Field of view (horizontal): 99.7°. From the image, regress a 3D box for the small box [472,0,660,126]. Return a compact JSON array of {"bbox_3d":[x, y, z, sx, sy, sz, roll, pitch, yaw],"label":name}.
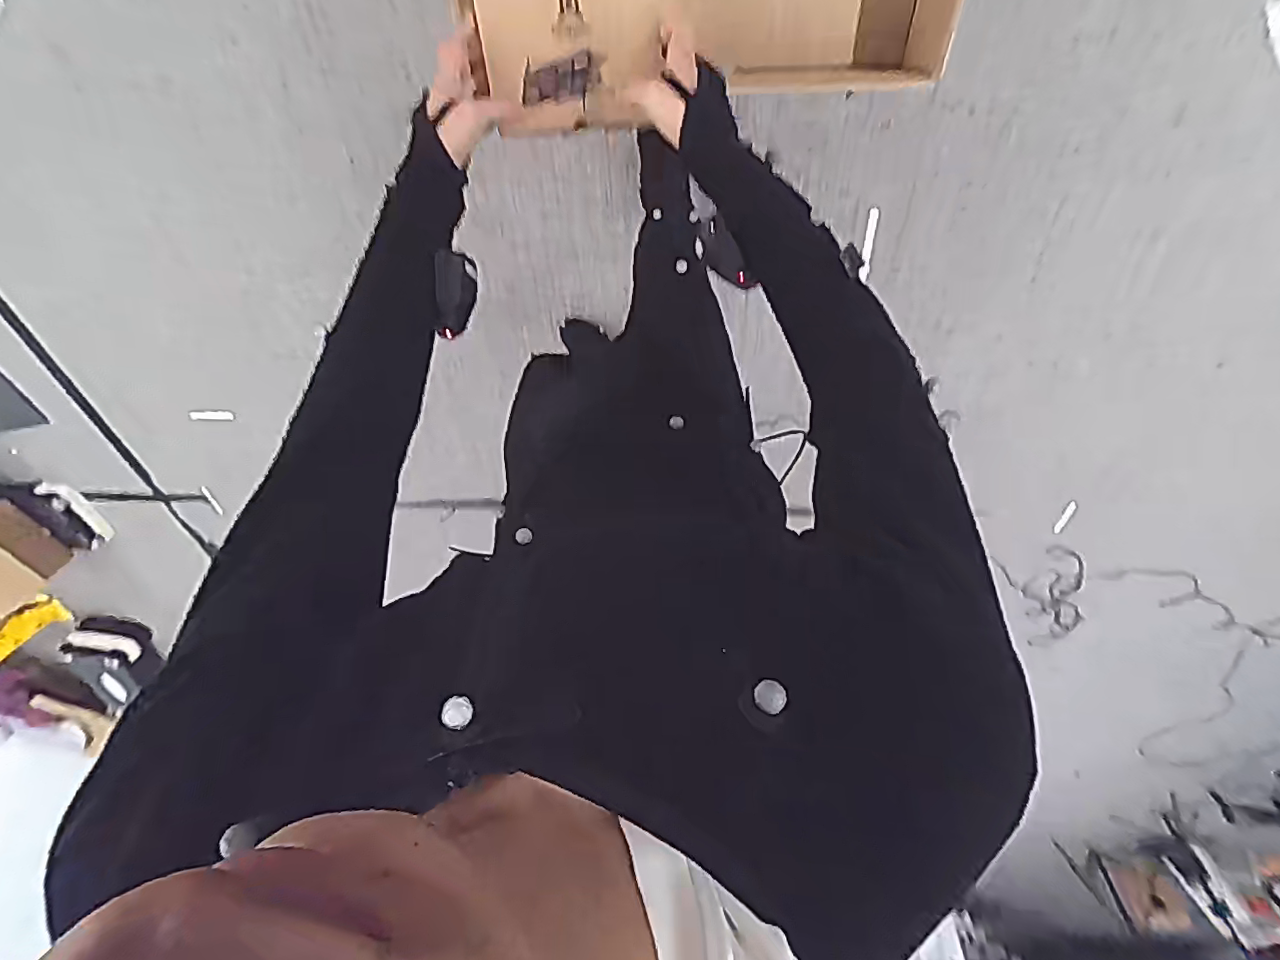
[{"bbox_3d":[-0.072,-0.473,0.538,0.168,0.176,0.179,-7,129,-2],"label":"small box"}]
